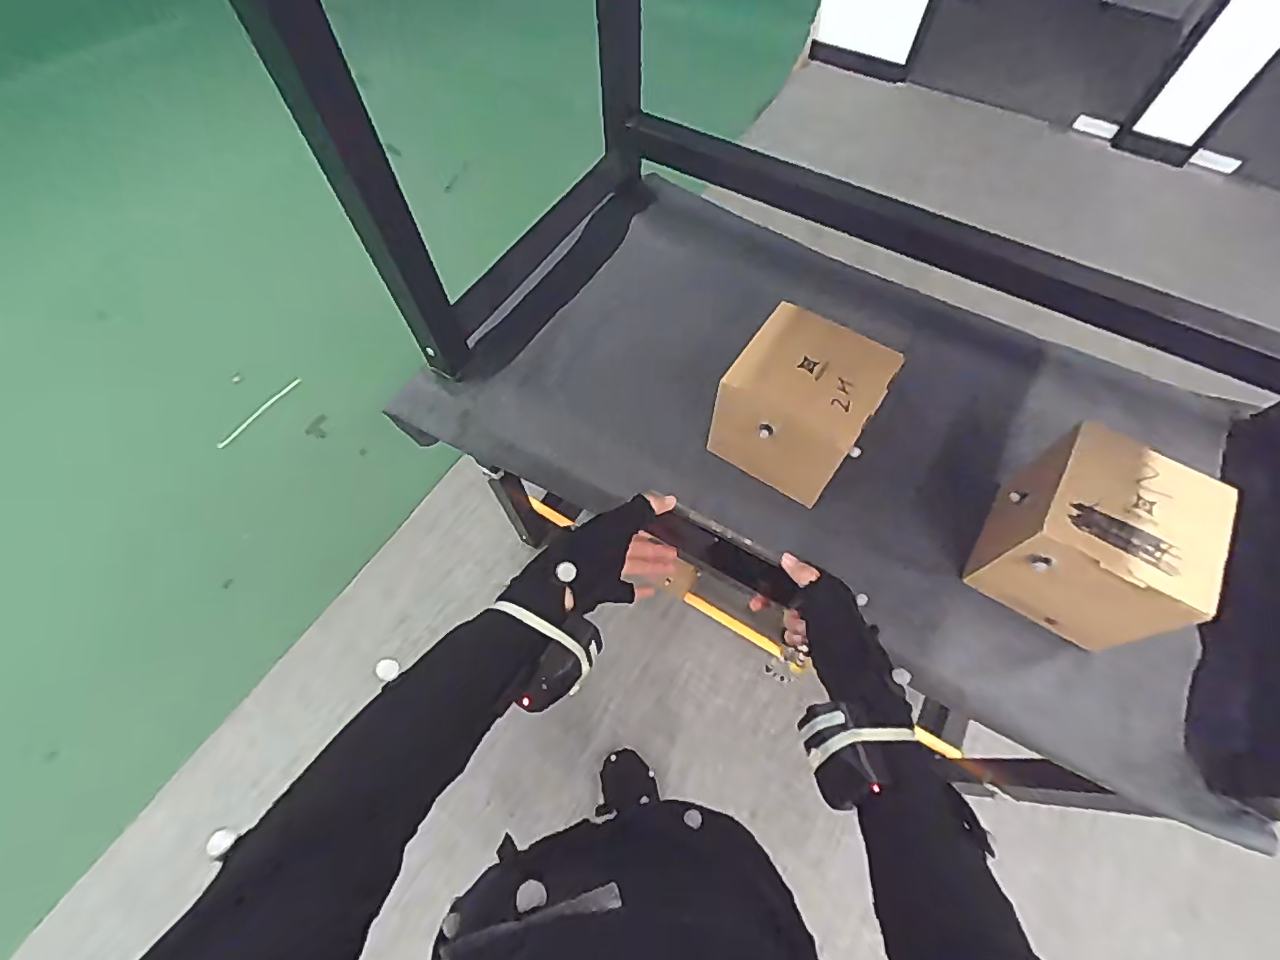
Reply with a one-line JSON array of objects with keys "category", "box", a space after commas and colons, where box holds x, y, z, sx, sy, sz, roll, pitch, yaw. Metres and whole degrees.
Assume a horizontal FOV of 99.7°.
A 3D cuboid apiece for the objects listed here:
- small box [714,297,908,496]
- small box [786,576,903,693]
[{"category": "small box", "box": [0.217, -0.105, 0.732, 0.179, 0.176, 0.168, 31, 68, 16]}, {"category": "small box", "box": [0.441, 0.348, 1.197, 0.168, 0.176, 0.179, 32, 68, 15]}]
